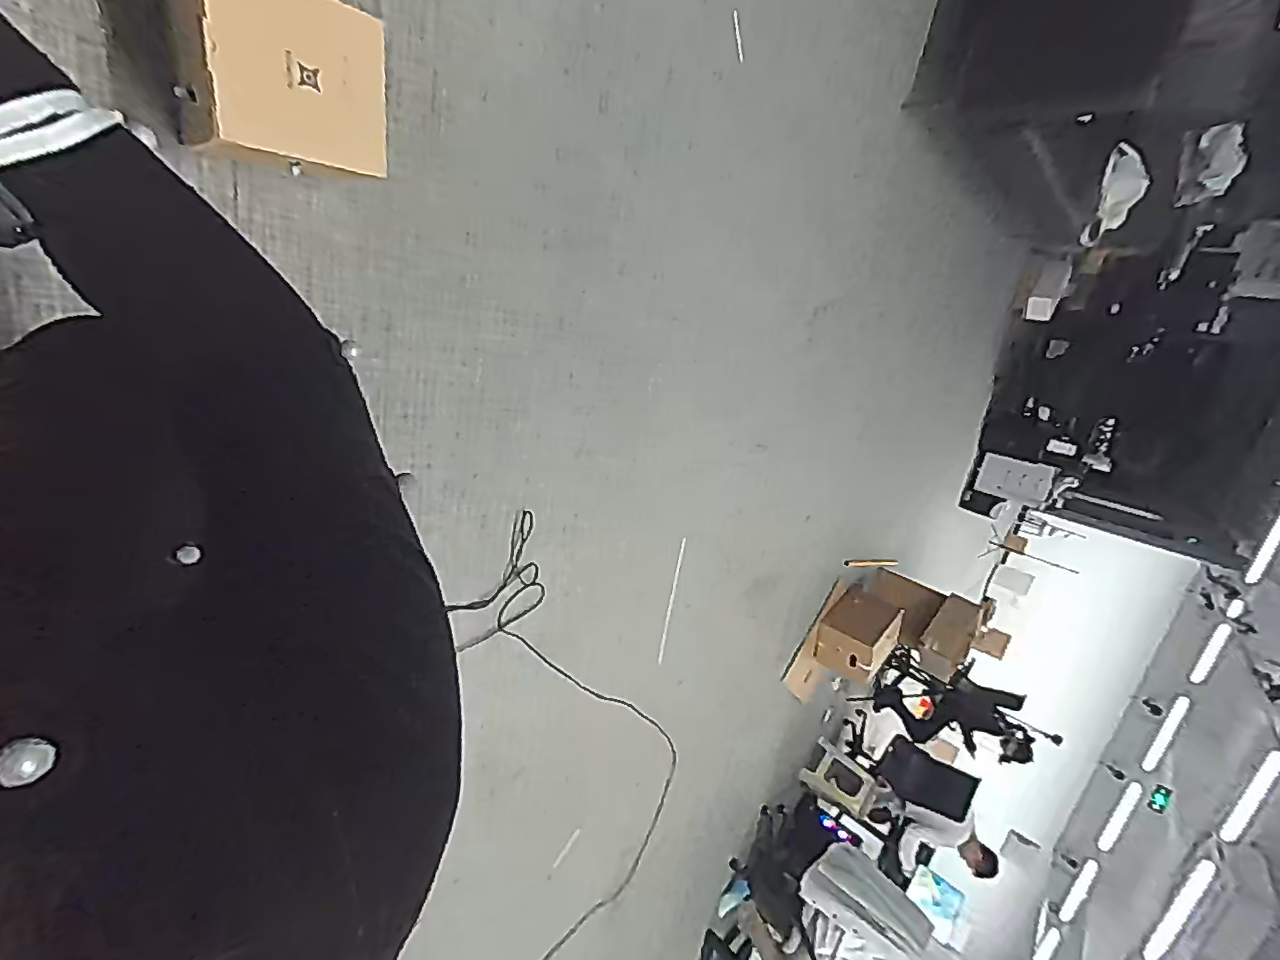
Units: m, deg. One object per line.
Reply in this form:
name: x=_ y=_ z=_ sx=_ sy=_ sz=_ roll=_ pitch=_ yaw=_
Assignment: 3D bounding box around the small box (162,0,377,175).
small box: x=-0.433 y=-0.468 z=0.636 sx=0.179 sy=0.176 sz=0.168 roll=-13 pitch=119 yaw=-46
